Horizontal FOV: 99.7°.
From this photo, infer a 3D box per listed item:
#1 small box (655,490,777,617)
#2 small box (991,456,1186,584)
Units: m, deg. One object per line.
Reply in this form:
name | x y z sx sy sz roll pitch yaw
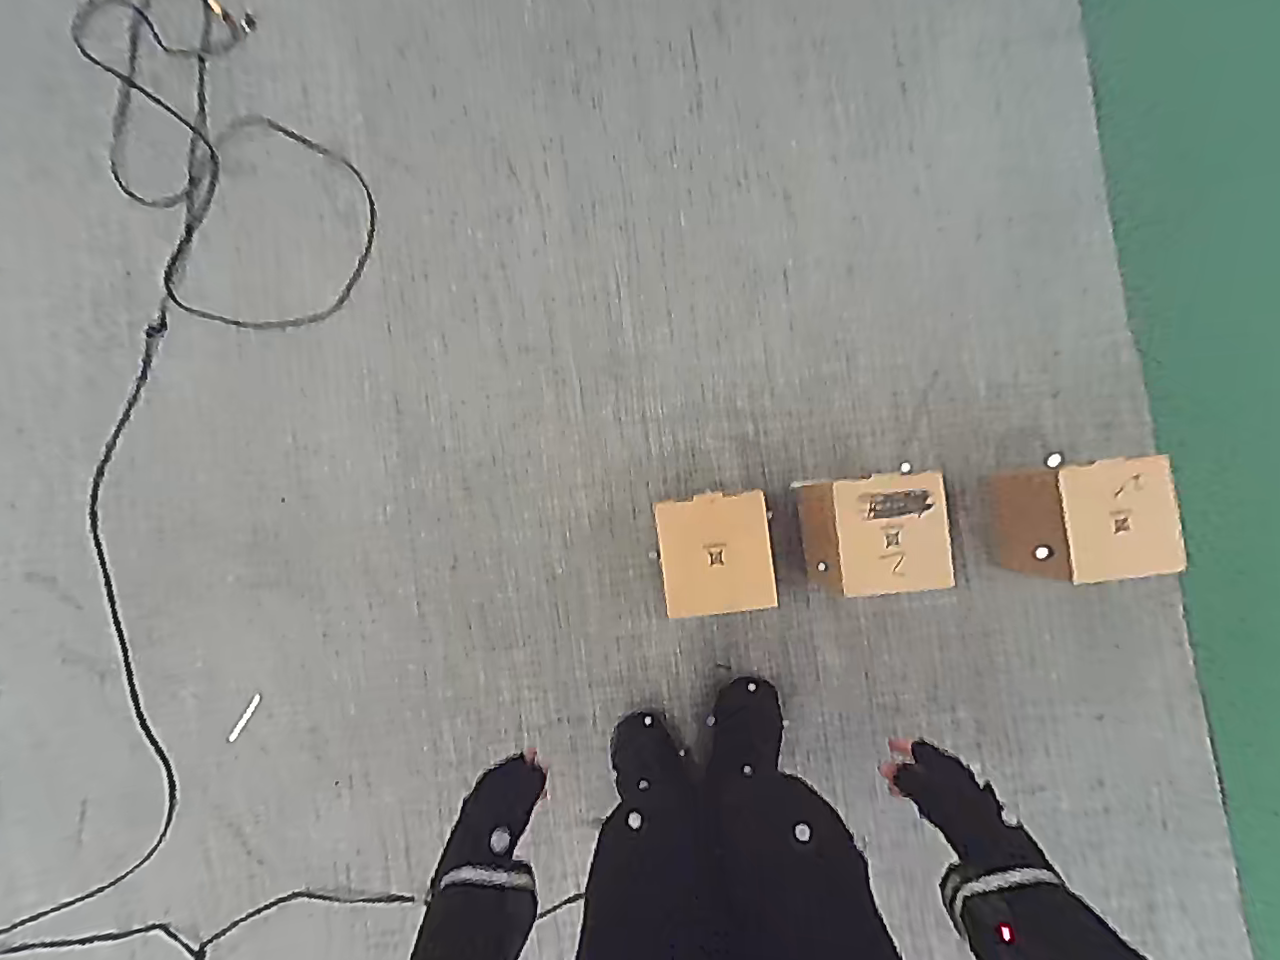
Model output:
small box | 0.117 0.112 0.879 0.168 0.176 0.179 -7 86 1
small box | 0.704 0.061 0.870 0.168 0.176 0.179 -7 87 0
